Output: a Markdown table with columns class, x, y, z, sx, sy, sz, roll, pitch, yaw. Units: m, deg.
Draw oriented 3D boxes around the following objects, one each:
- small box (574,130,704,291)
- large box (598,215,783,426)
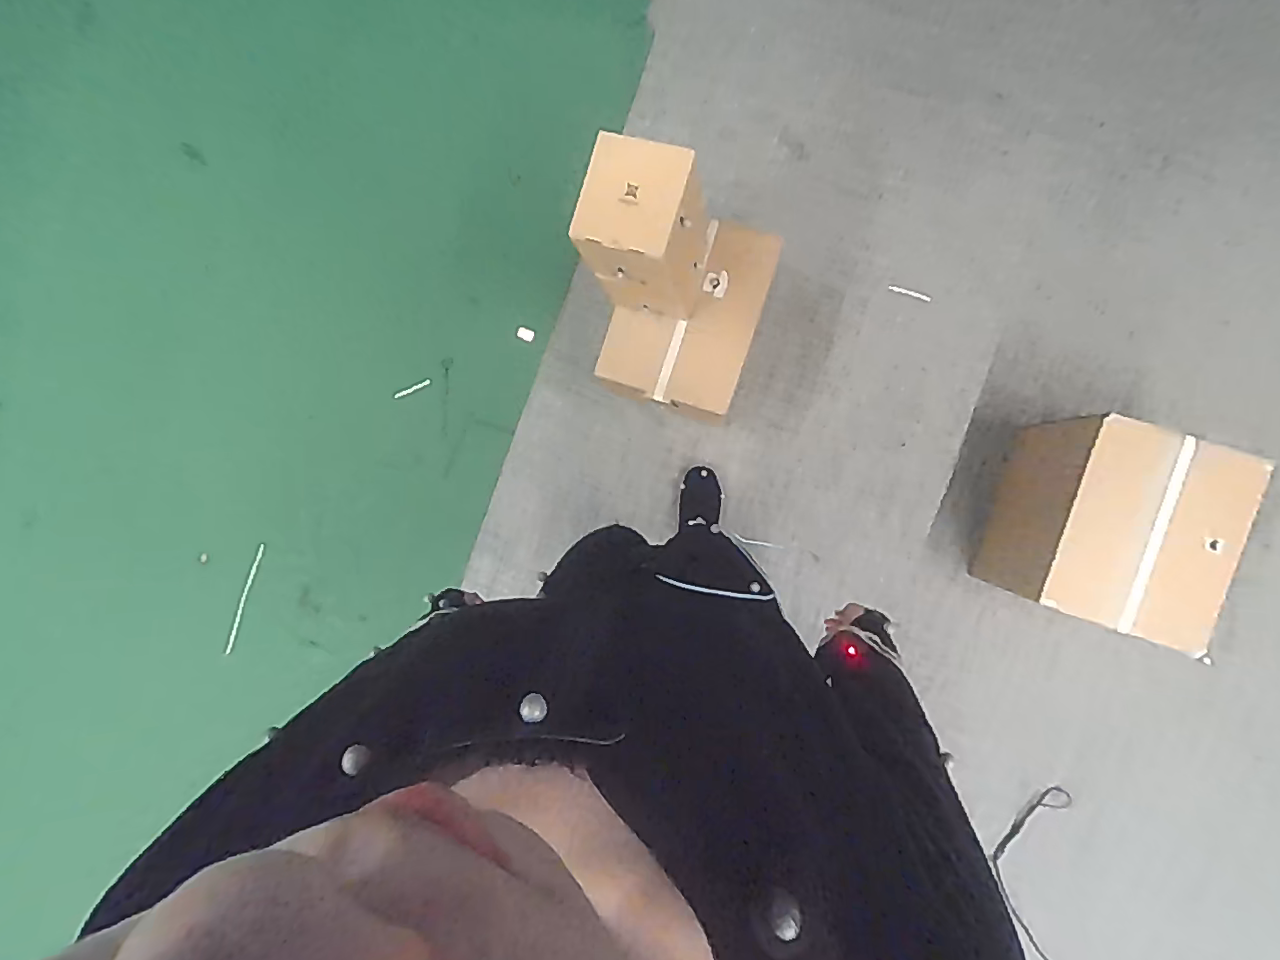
| class | x | y | z | sx | sy | sz | roll | pitch | yaw |
| --- | --- | --- | --- | --- | --- | --- | --- | --- | --- |
| small box | 0.007 | -0.457 | 0.938 | 0.168 | 0.176 | 0.179 | 19 | 94 | 10 |
| large box | 0.129 | -0.379 | 1.333 | 0.320 | 0.320 | 0.408 | 19 | 92 | 8 |
